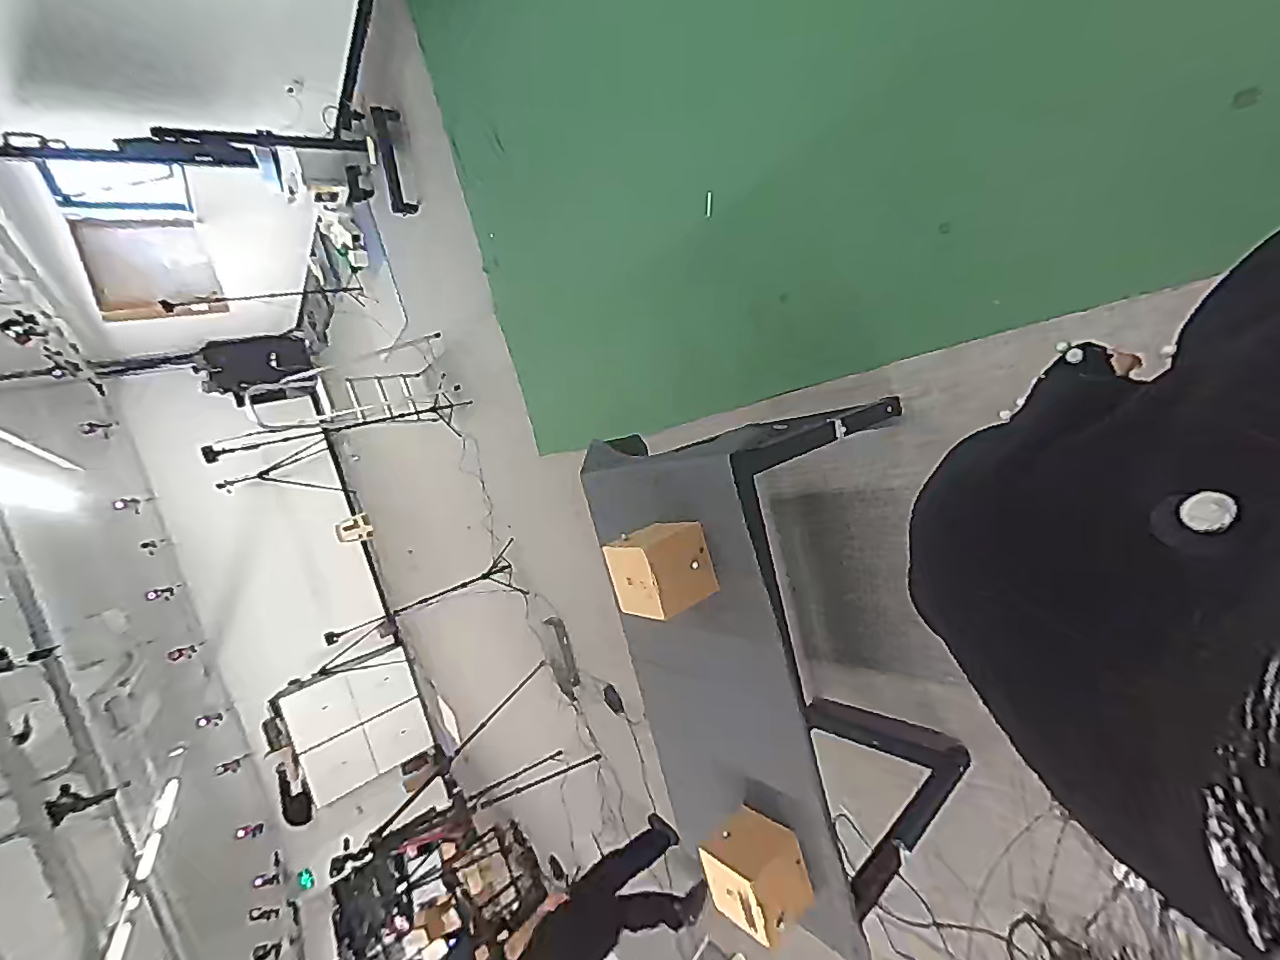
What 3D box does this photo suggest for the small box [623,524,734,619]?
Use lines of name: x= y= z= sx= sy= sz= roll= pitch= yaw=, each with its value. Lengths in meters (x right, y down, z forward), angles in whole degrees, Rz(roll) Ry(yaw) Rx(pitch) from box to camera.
small box: x=0.091 y=0.205 z=1.264 sx=0.179 sy=0.176 sz=0.168 roll=-7 pitch=99 yaw=51
